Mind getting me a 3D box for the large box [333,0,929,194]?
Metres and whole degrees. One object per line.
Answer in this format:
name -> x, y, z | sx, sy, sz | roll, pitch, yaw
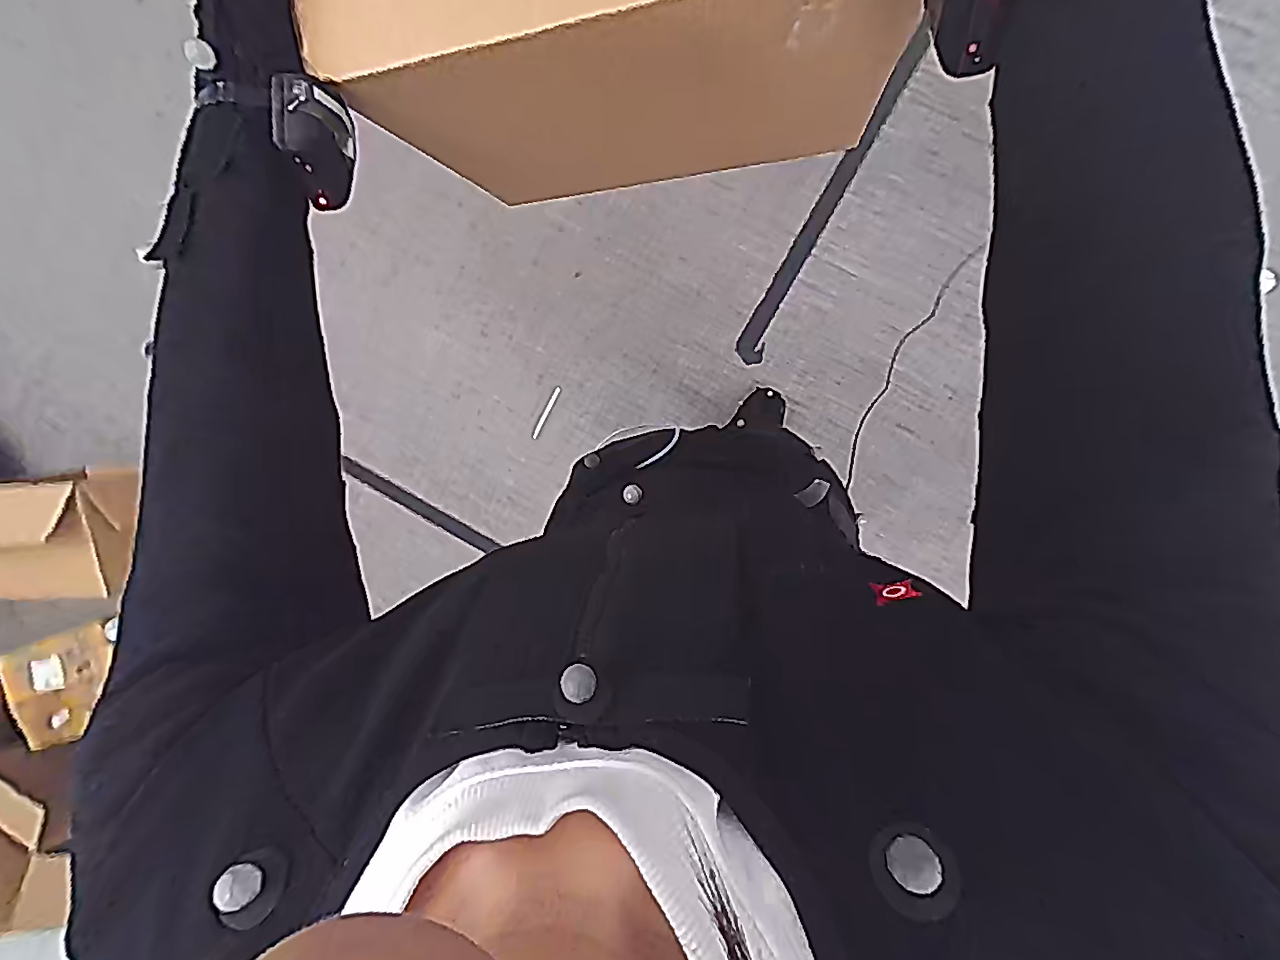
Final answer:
large box -> 0.003, -0.473, 0.444 | 0.408, 0.320, 0.320 | -3, 103, 12
